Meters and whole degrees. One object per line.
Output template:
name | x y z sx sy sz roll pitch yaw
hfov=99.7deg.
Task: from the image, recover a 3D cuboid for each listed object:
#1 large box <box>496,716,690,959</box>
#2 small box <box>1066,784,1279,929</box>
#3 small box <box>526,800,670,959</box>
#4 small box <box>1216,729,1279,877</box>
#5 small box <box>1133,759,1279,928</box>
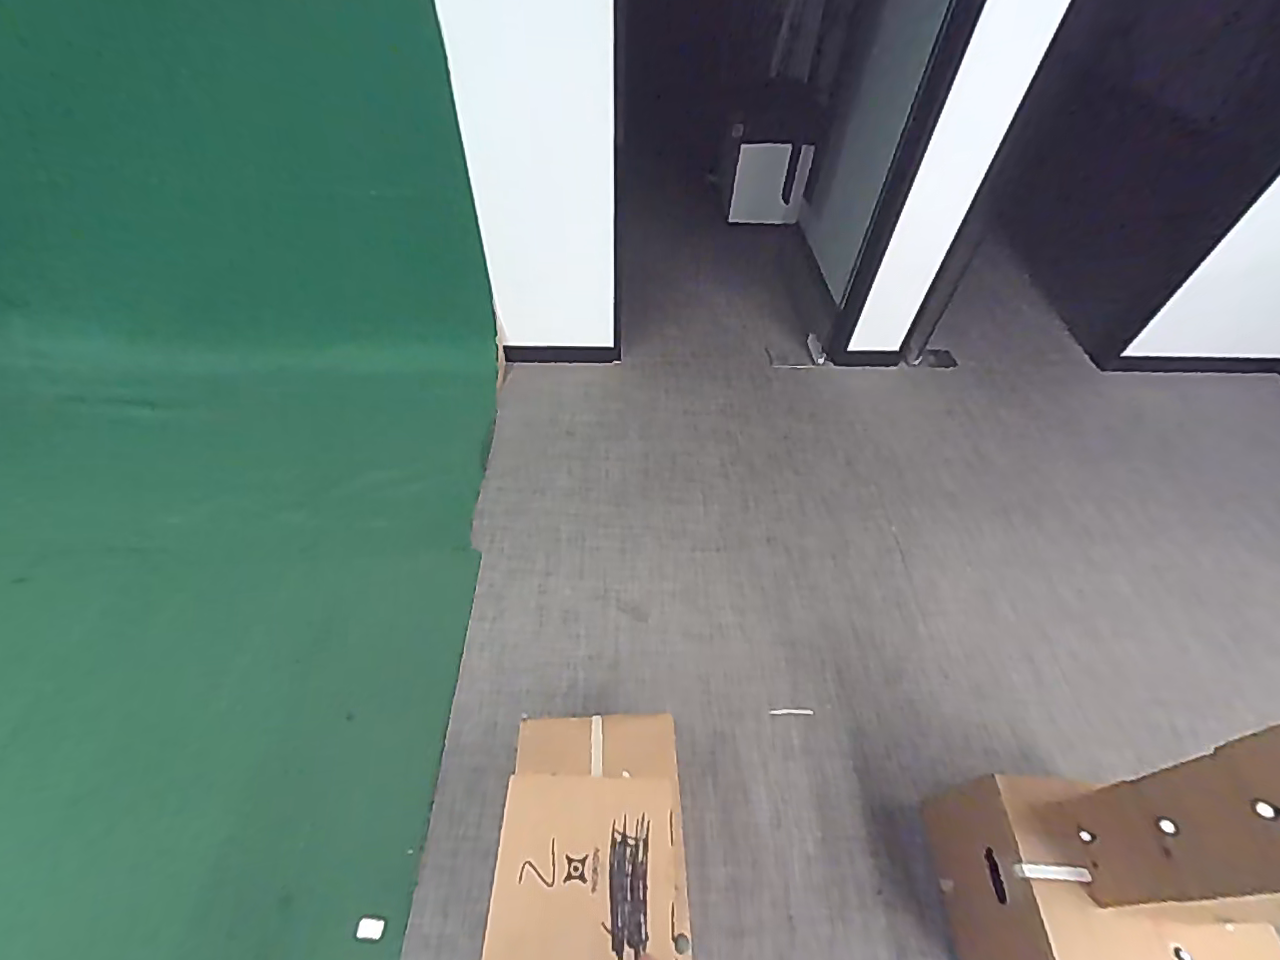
large box | -0.087 0.734 1.082 0.320 0.320 0.408 0 49 -3
small box | 0.874 0.629 0.899 0.179 0.176 0.168 7 48 3
small box | -0.049 0.539 0.714 0.168 0.176 0.179 2 49 -2
small box | 0.888 0.411 0.653 0.168 0.176 0.179 8 49 3
small box | 0.883 0.523 0.773 0.179 0.176 0.168 8 48 5
